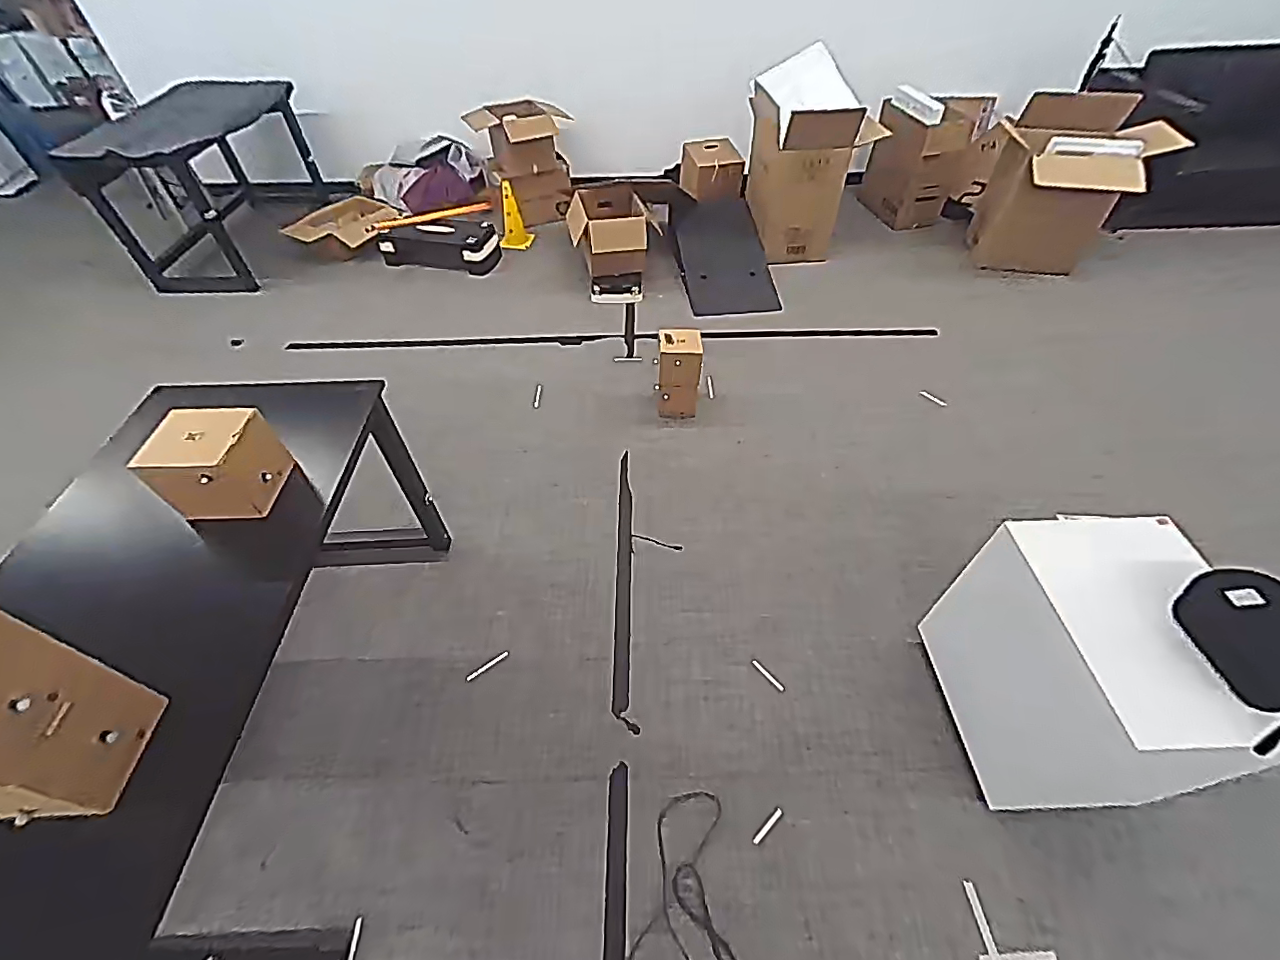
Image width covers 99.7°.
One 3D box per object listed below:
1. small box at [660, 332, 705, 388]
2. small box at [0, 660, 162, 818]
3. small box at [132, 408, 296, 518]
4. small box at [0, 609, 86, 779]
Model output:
[{"bbox_3d":[0.172,-0.502,2.268,0.179,0.176,0.168,0,49,-1],"label":"small box"},{"bbox_3d":[-0.854,0.371,0.772,0.179,0.176,0.168,-2,48,-2],"label":"small box"},{"bbox_3d":[-0.871,-0.032,1.127,0.179,0.176,0.168,-1,49,-1],"label":"small box"},{"bbox_3d":[-0.858,0.262,0.649,0.179,0.176,0.168,-2,49,-1],"label":"small box"}]
